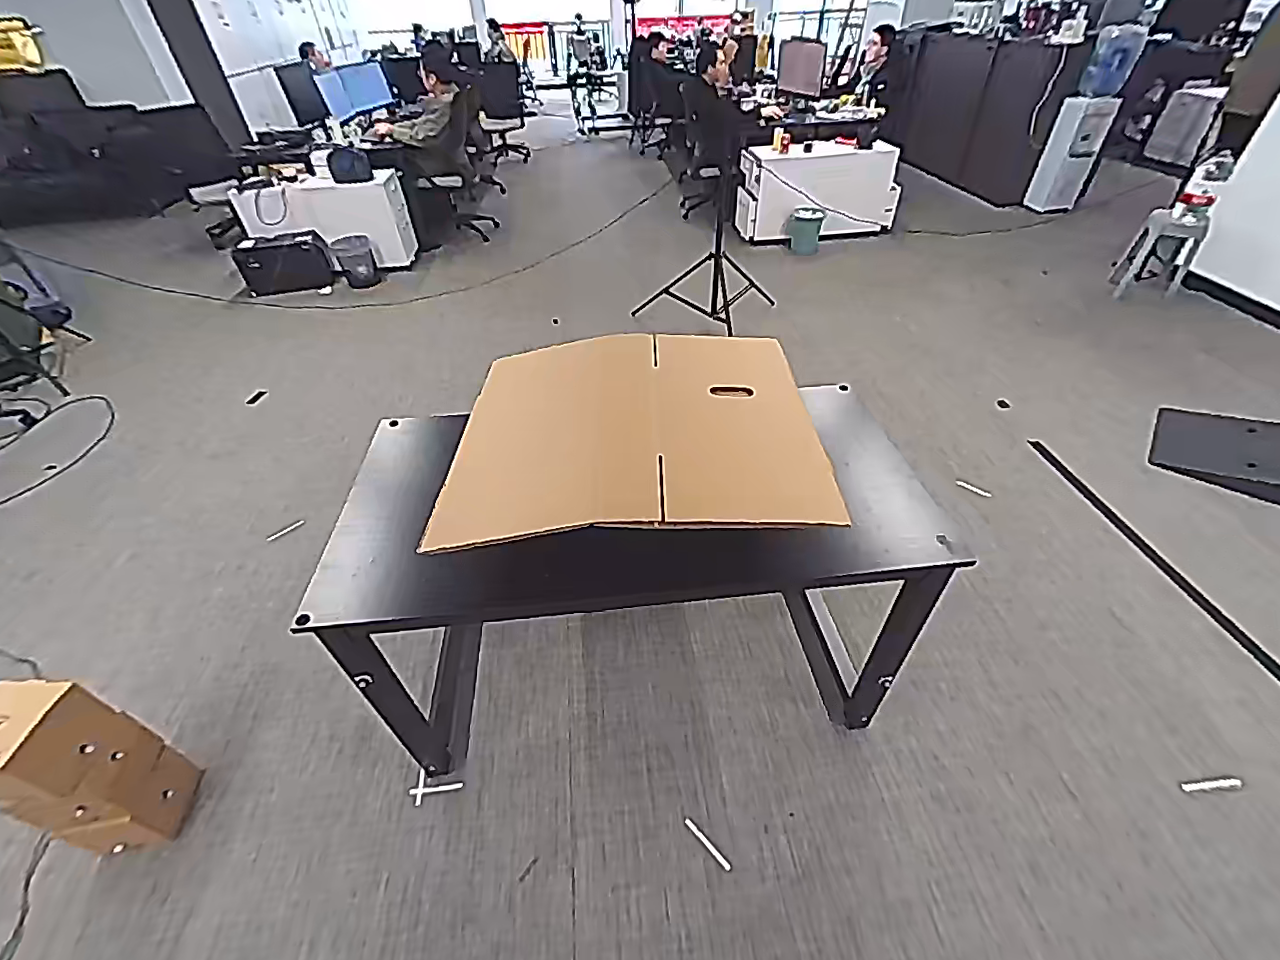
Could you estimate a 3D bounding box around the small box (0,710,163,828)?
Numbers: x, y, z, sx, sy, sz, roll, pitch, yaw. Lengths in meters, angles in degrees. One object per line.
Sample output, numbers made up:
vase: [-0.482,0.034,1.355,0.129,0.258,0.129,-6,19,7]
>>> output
small box: [-1.244,0.658,1.223,0.168,0.176,0.179,-9,41,-9]

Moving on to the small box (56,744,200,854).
small box: [-1.236,0.782,1.327,0.168,0.176,0.179,-8,43,-6]

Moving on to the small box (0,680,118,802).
small box: [-1.247,0.536,1.113,0.168,0.176,0.179,0,41,2]
